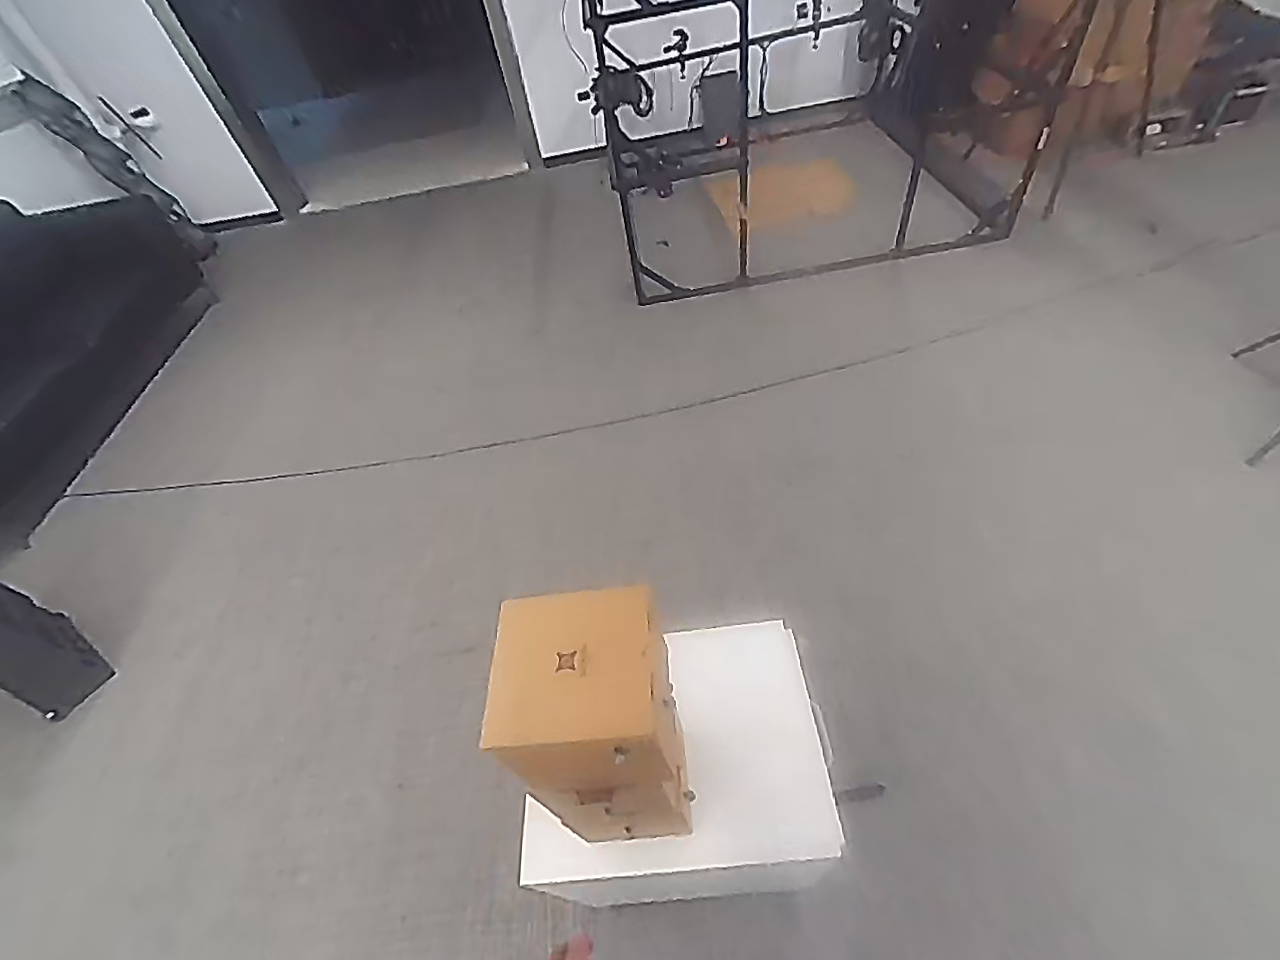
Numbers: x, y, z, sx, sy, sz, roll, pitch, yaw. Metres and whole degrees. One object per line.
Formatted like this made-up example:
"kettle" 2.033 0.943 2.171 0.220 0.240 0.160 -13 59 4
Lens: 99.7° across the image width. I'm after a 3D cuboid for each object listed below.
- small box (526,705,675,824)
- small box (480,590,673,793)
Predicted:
"small box" -0.045 0.357 0.750 0.168 0.176 0.179 -7 47 6
"small box" -0.061 0.250 0.629 0.179 0.176 0.168 -7 47 5
